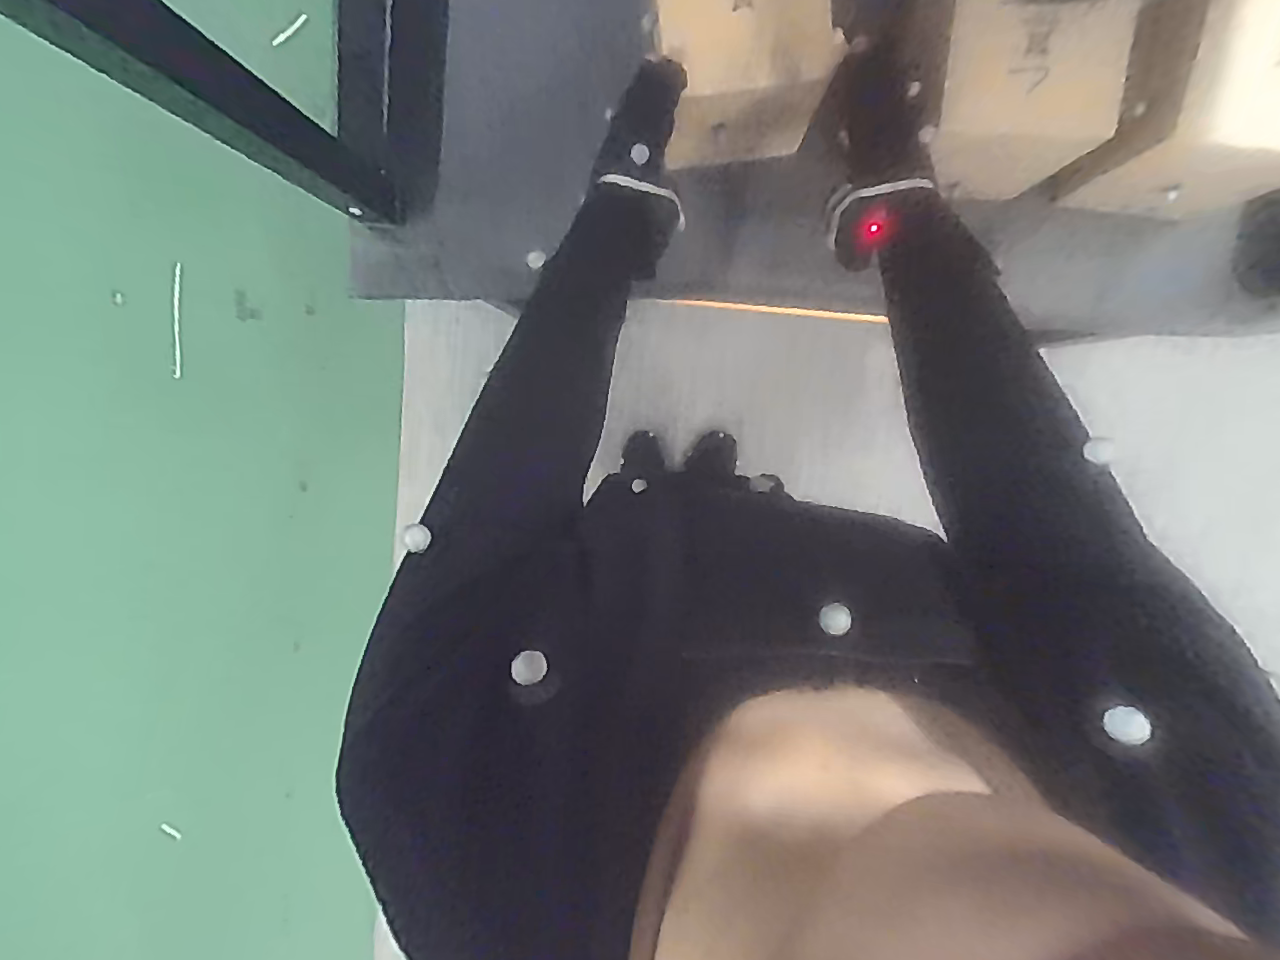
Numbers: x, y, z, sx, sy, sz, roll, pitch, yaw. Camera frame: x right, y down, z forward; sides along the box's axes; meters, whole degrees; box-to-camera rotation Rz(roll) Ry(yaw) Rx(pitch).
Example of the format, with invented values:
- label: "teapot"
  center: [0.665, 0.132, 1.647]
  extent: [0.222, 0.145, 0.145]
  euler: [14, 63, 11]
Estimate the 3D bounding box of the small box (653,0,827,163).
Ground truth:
- label: "small box"
  center: [0.101, -0.479, 0.601]
  extent: [0.168, 0.176, 0.179]
  euler: [-5, 97, 4]
